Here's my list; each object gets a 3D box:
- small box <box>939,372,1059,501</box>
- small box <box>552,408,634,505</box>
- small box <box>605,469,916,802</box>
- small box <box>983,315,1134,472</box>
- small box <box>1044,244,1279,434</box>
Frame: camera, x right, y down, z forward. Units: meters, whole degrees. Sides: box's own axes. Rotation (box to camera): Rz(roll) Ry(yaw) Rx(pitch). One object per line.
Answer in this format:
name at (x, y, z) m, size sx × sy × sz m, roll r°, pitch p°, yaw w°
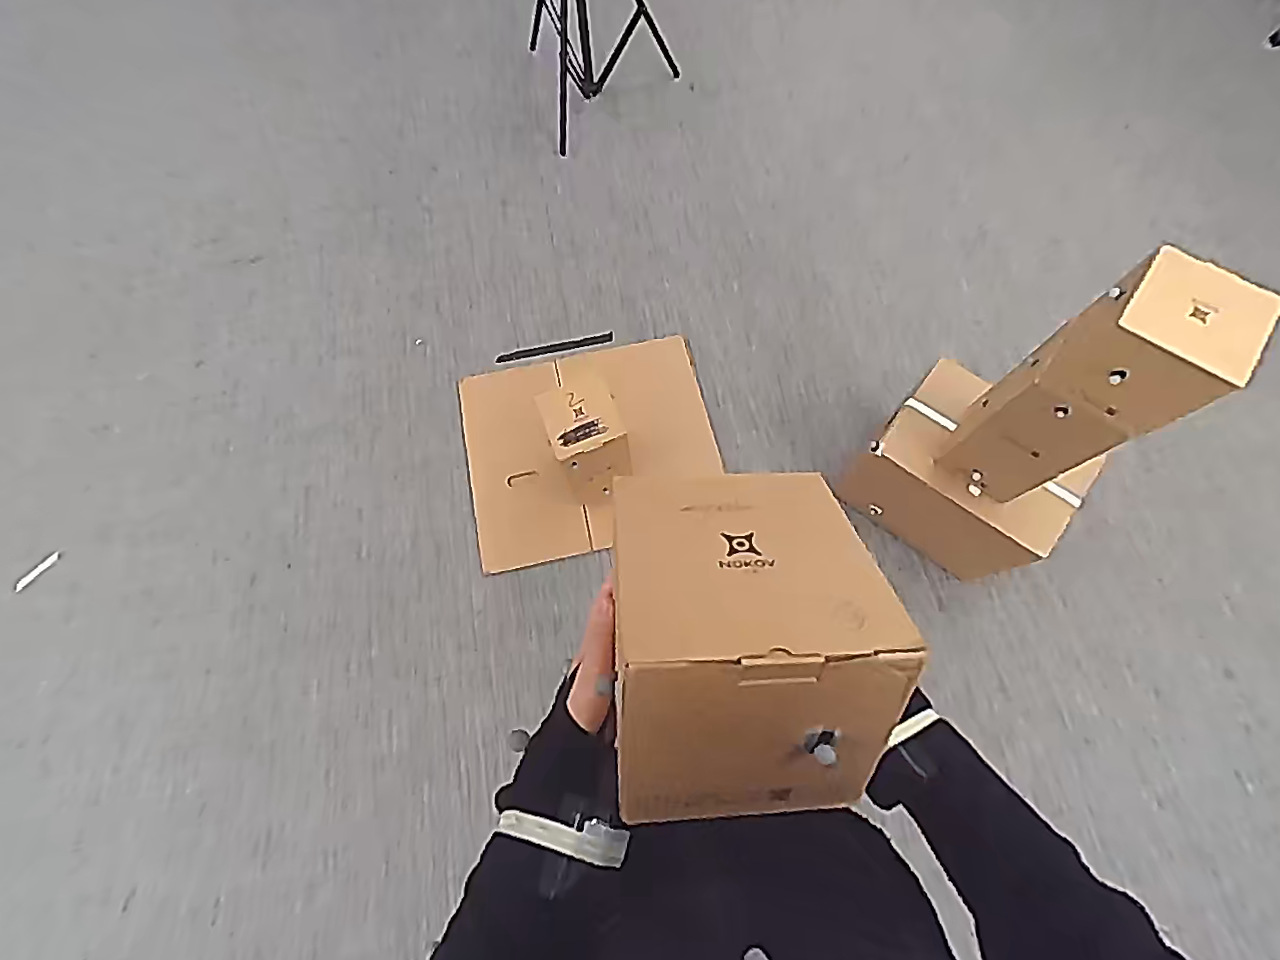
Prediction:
small box at (0.757, -0.087, 1.109) m, size 0.168 × 0.176 × 0.179 m, roll 36°, pitch 75°, yaw 13°
small box at (-0.120, -0.058, 1.440) m, size 0.168 × 0.176 × 0.179 m, roll -21°, pitch 71°, yaw -4°
small box at (0.060, 0.109, 0.393) m, size 0.168 × 0.176 × 0.179 m, roll -1°, pitch 33°, yaw -5°
small box at (0.755, -0.146, 0.956) m, size 0.168 × 0.176 × 0.179 m, roll 36°, pitch 74°, yaw 14°
small box at (0.752, -0.199, 0.802) m, size 0.168 × 0.176 × 0.179 m, roll 36°, pitch 74°, yaw 13°
